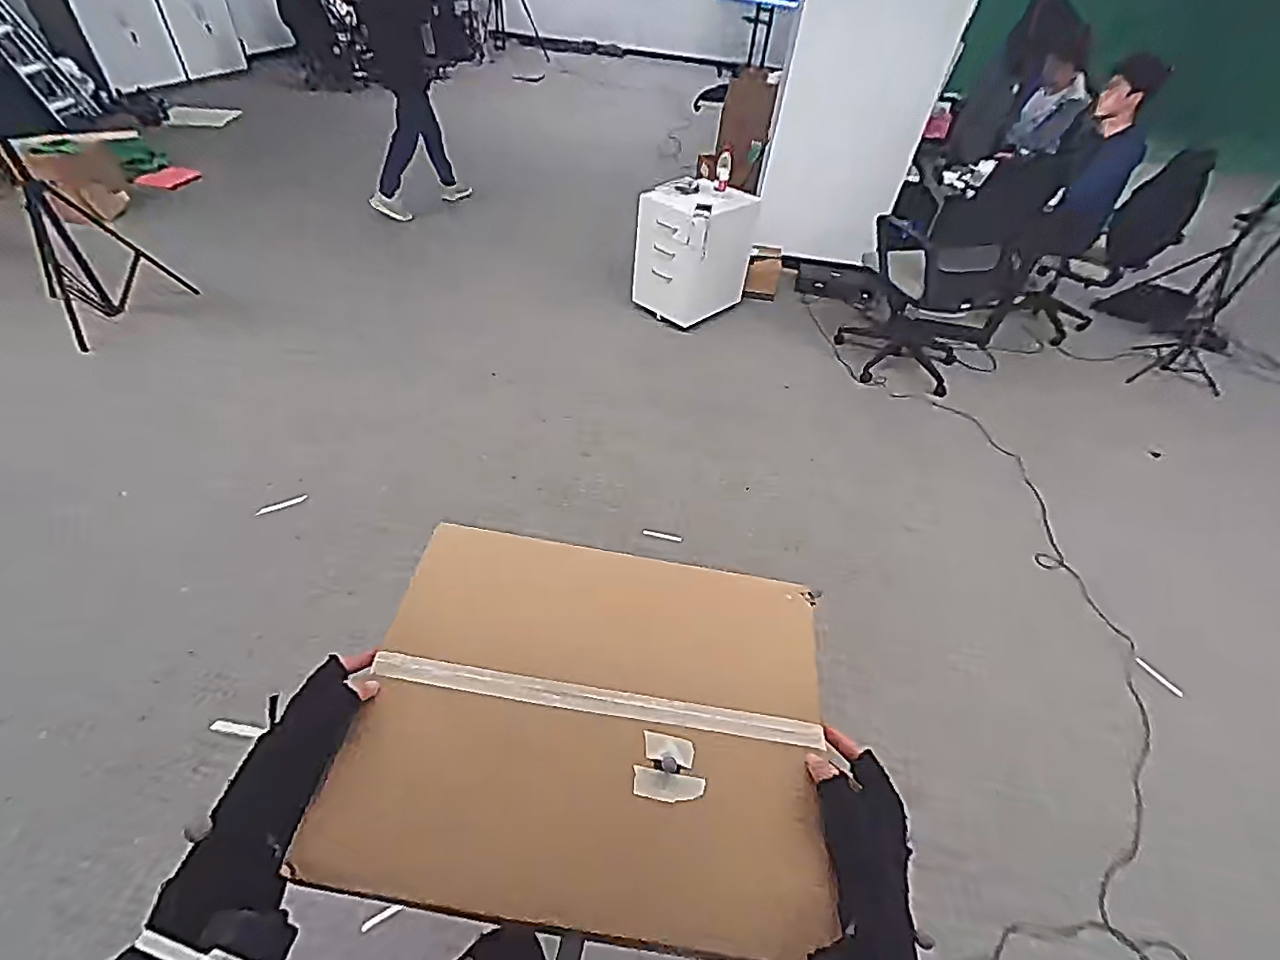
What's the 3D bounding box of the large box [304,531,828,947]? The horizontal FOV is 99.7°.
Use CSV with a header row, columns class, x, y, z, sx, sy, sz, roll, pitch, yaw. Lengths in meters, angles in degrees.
class,x,y,z,sx,sy,sz,roll,pitch,yaw
large box,-0.057,0.295,0.608,0.408,0.320,0.320,10,50,-1
